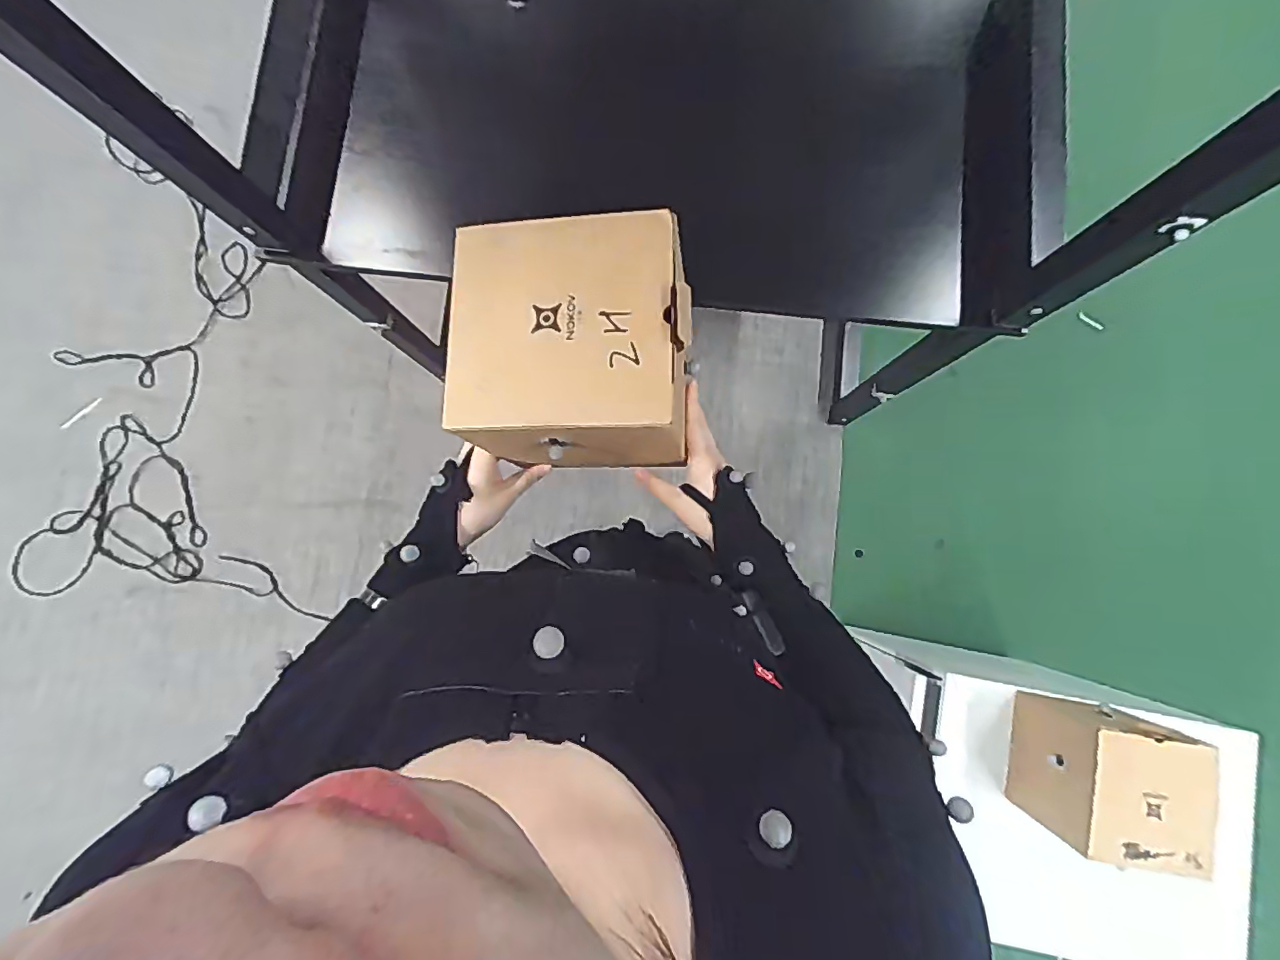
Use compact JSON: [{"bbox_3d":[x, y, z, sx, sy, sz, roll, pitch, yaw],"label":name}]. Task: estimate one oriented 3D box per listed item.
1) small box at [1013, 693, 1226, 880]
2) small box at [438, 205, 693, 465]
[{"bbox_3d":[0.683,0.429,0.789,0.168,0.176,0.179,9,84,2],"label":"small box"},{"bbox_3d":[-0.048,-0.106,0.470,0.179,0.176,0.168,0,82,9],"label":"small box"}]
